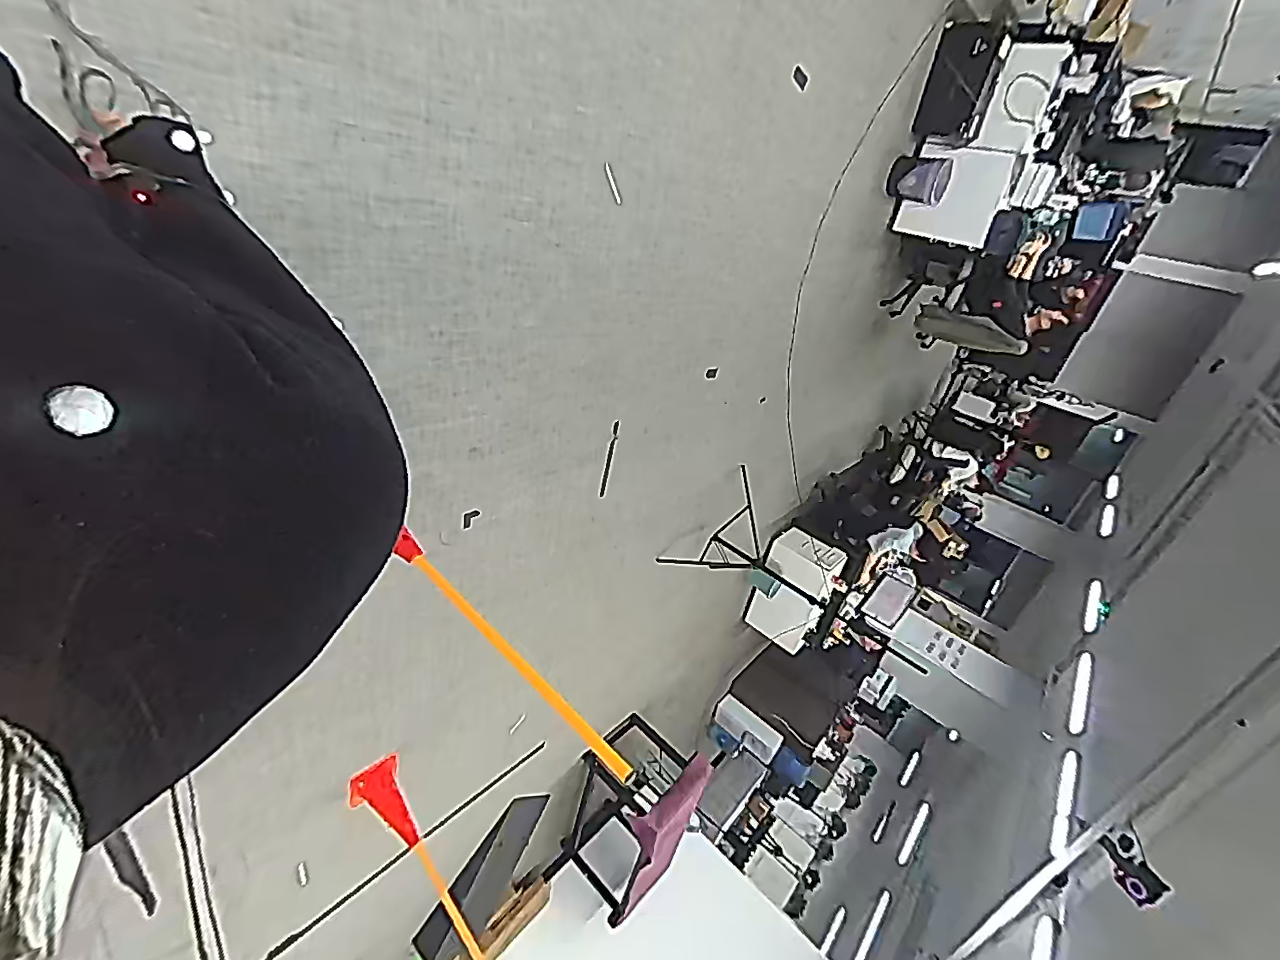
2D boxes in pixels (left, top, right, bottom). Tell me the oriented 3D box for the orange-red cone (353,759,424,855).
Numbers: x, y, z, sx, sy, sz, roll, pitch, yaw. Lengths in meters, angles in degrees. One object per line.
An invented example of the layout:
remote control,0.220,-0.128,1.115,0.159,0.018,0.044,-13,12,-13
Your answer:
orange-red cone,-0.979,1.357,2.184,0.198,0.360,0.199,-17,130,-47
